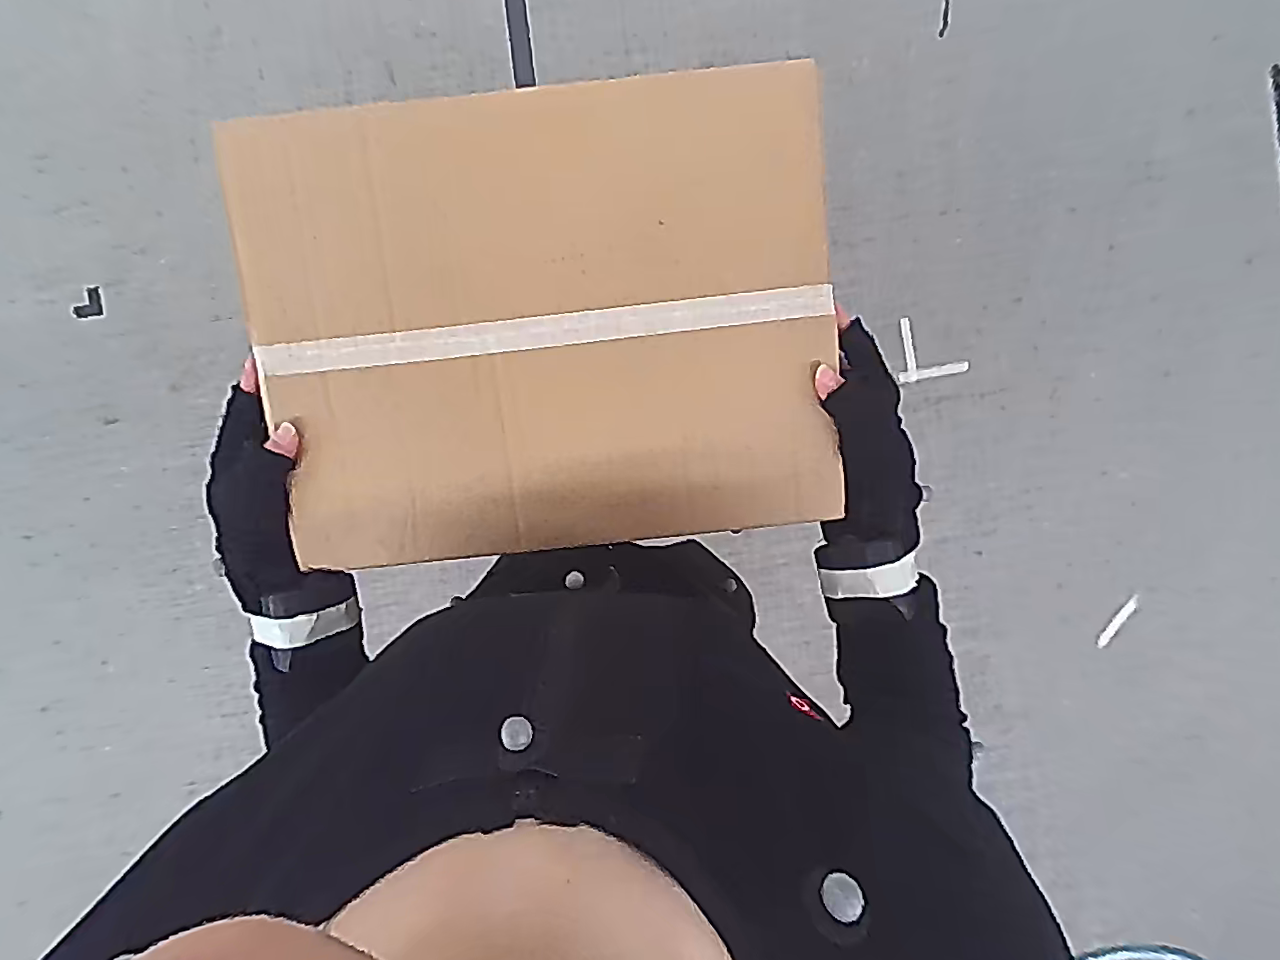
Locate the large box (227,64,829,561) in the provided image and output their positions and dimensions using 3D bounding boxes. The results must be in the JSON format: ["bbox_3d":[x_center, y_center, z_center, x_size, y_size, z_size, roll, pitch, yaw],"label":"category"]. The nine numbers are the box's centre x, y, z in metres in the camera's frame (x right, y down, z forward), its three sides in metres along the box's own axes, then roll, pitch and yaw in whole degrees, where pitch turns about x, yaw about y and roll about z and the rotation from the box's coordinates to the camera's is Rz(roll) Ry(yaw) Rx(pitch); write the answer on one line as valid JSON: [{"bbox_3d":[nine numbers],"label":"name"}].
[{"bbox_3d":[-0.069,-0.133,0.535,0.408,0.320,0.320,-6,98,0],"label":"large box"}]
